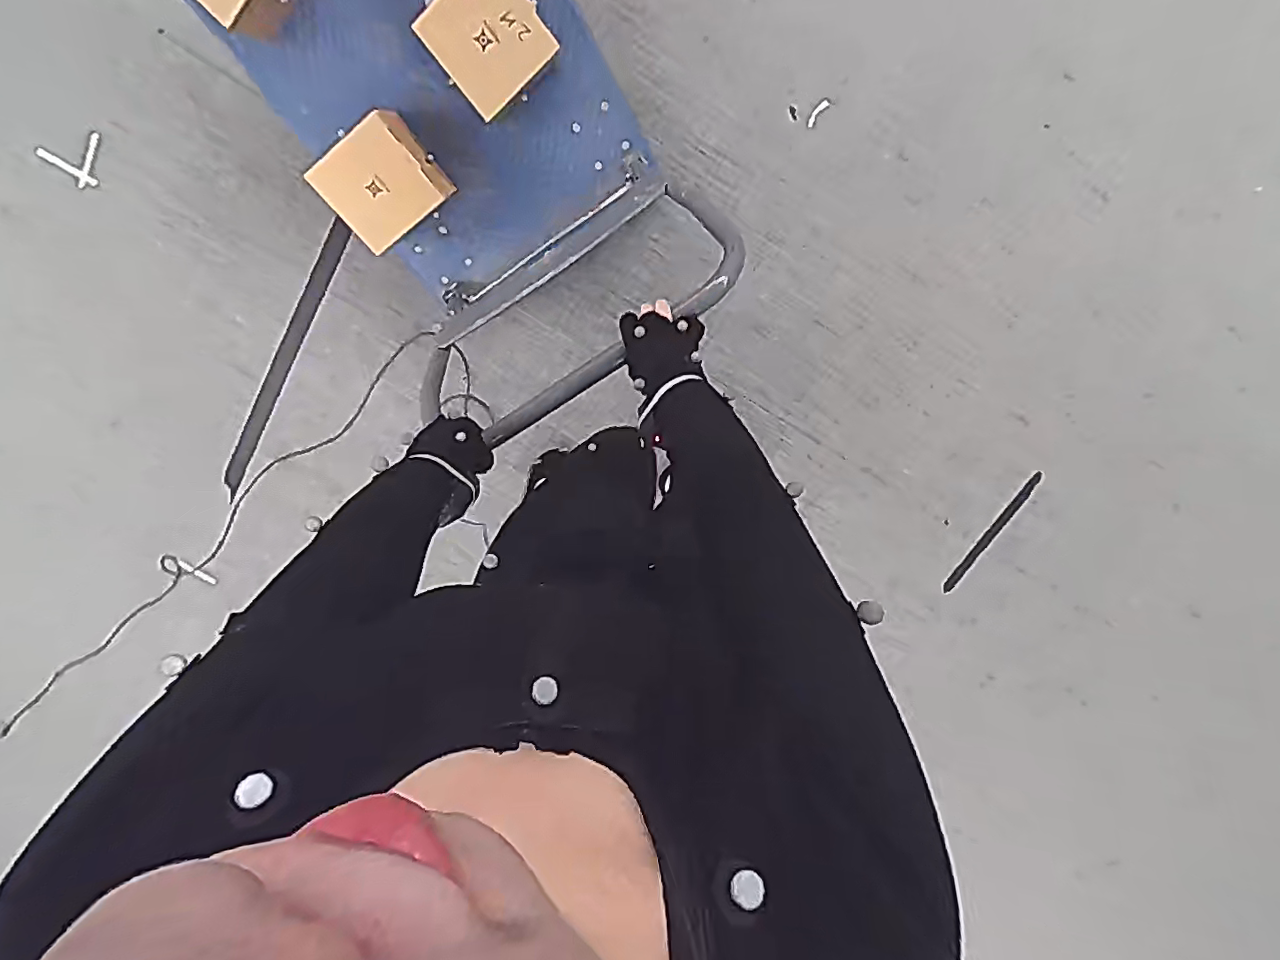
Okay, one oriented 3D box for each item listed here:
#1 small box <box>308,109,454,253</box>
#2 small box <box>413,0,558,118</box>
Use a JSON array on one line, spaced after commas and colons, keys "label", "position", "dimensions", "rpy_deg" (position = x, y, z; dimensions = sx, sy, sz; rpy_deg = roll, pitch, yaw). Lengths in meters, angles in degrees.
[{"label": "small box", "position": [-0.481, -0.570, 1.038], "dimensions": [0.179, 0.176, 0.168], "rpy_deg": [-35, 121, 11]}, {"label": "small box", "position": [-0.258, -0.768, 0.946], "dimensions": [0.179, 0.176, 0.168], "rpy_deg": [-36, 121, 14]}]
